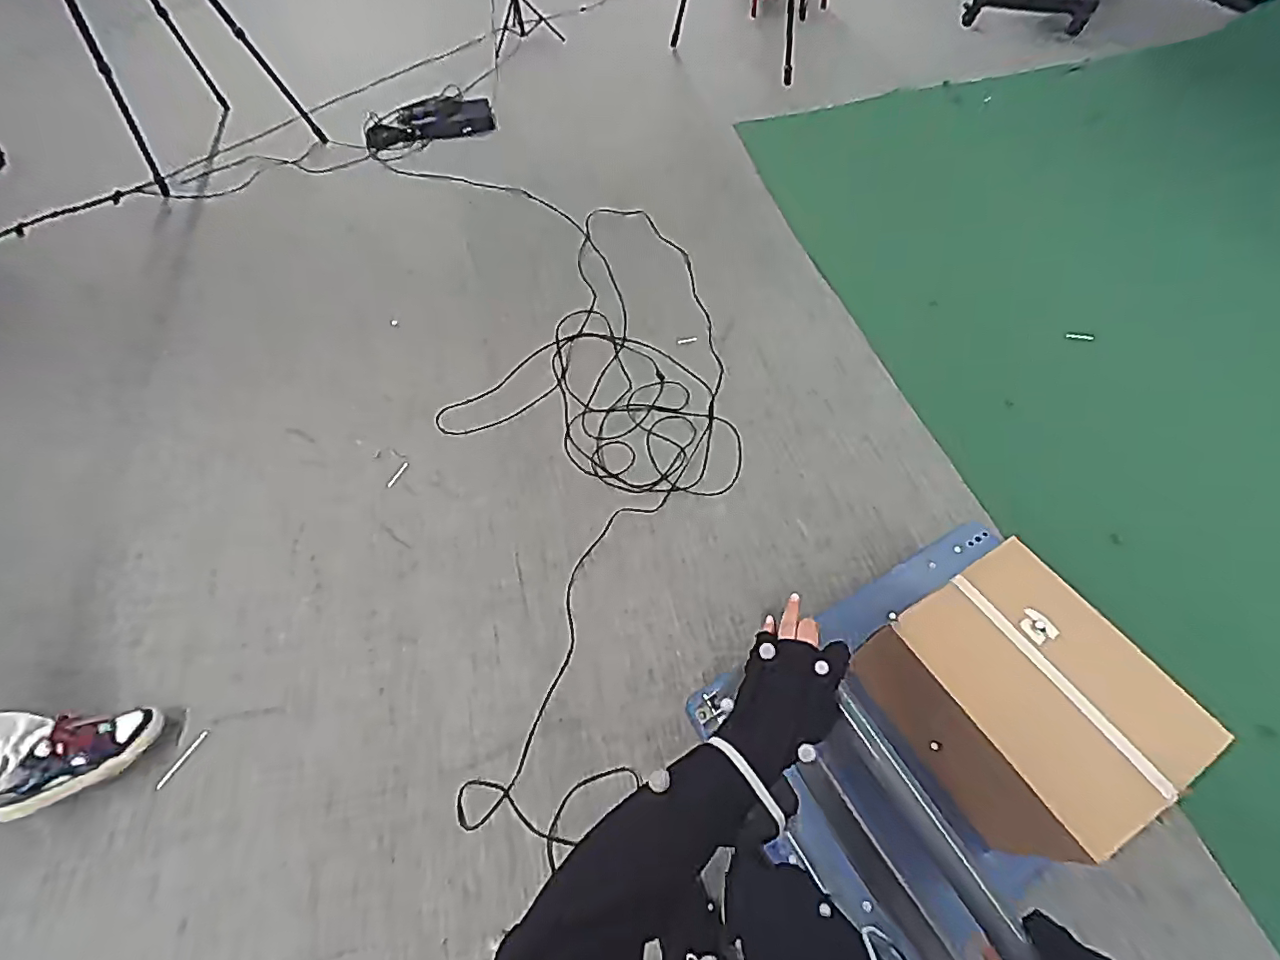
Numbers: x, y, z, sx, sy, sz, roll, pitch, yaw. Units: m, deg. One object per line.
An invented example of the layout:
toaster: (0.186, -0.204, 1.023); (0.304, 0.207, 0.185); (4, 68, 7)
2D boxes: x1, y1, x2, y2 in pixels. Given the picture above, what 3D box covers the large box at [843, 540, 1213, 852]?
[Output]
large box: (0.669, 0.399, 1.021); (0.320, 0.320, 0.408); (-29, 61, -13)
